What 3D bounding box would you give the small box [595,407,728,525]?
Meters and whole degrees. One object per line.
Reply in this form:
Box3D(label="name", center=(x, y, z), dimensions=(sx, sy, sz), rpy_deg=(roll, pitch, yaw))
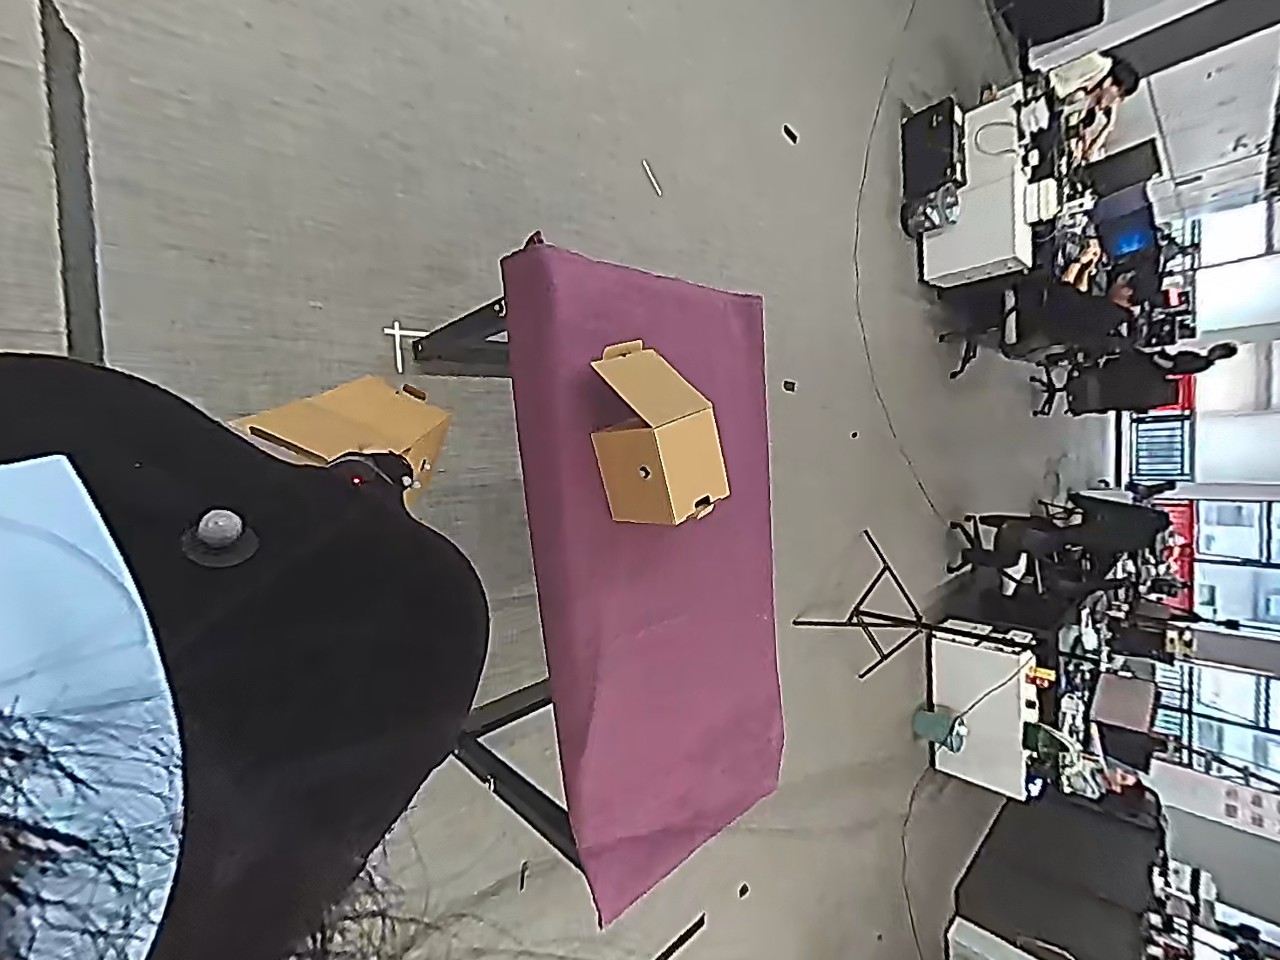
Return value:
Box3D(label="small box", center=(0.037, -0.027, 1.008), dimensions=(0.168, 0.176, 0.179), rpy_deg=(-24, 107, -40))
